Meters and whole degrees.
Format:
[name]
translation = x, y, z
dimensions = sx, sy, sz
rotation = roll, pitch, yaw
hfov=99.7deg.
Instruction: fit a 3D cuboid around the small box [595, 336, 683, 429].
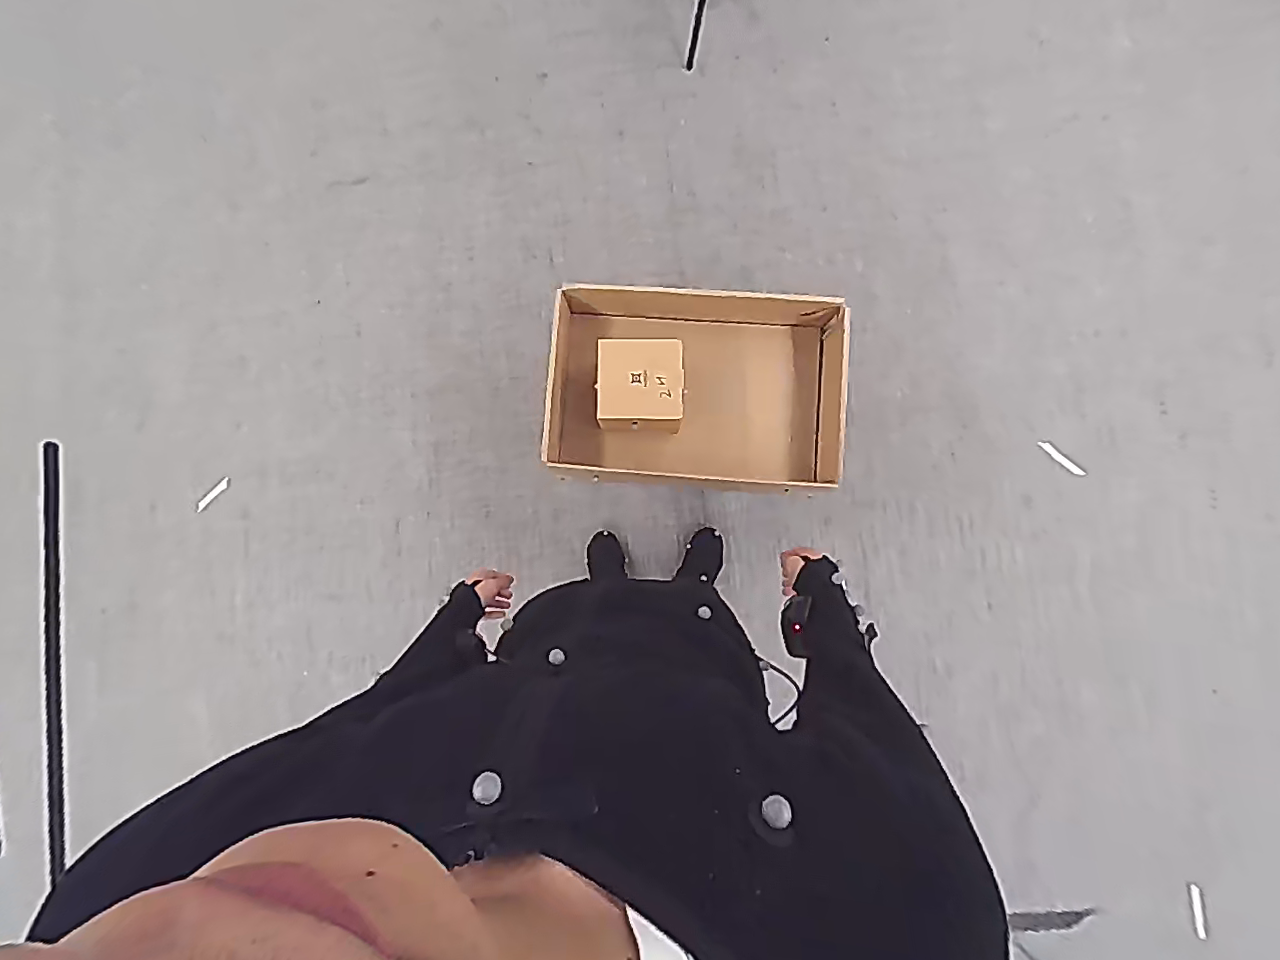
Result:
[small box]
translation = 0.000, -0.204, 1.170
dimensions = 0.179, 0.176, 0.168
rotation = 1, 86, 1
